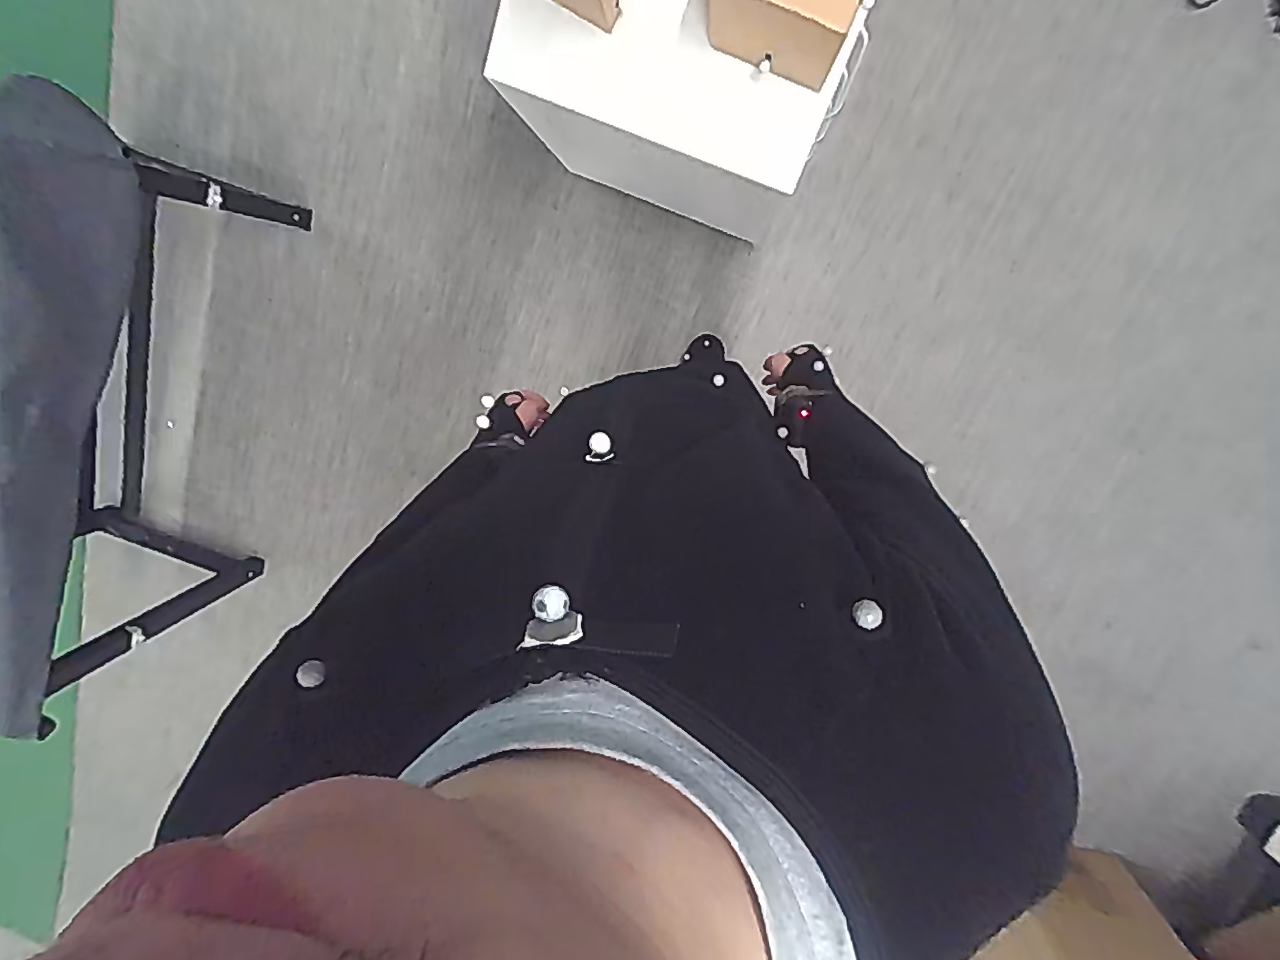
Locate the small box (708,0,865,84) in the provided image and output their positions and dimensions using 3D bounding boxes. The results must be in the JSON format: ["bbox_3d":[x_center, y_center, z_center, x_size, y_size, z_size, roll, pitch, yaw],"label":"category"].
[{"bbox_3d":[0.196,-0.636,0.672,0.179,0.176,0.168,23,107,-2],"label":"small box"}]

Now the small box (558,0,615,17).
[{"bbox_3d":[-0.089,-0.732,0.669,0.179,0.176,0.168,29,106,-3],"label":"small box"}]
